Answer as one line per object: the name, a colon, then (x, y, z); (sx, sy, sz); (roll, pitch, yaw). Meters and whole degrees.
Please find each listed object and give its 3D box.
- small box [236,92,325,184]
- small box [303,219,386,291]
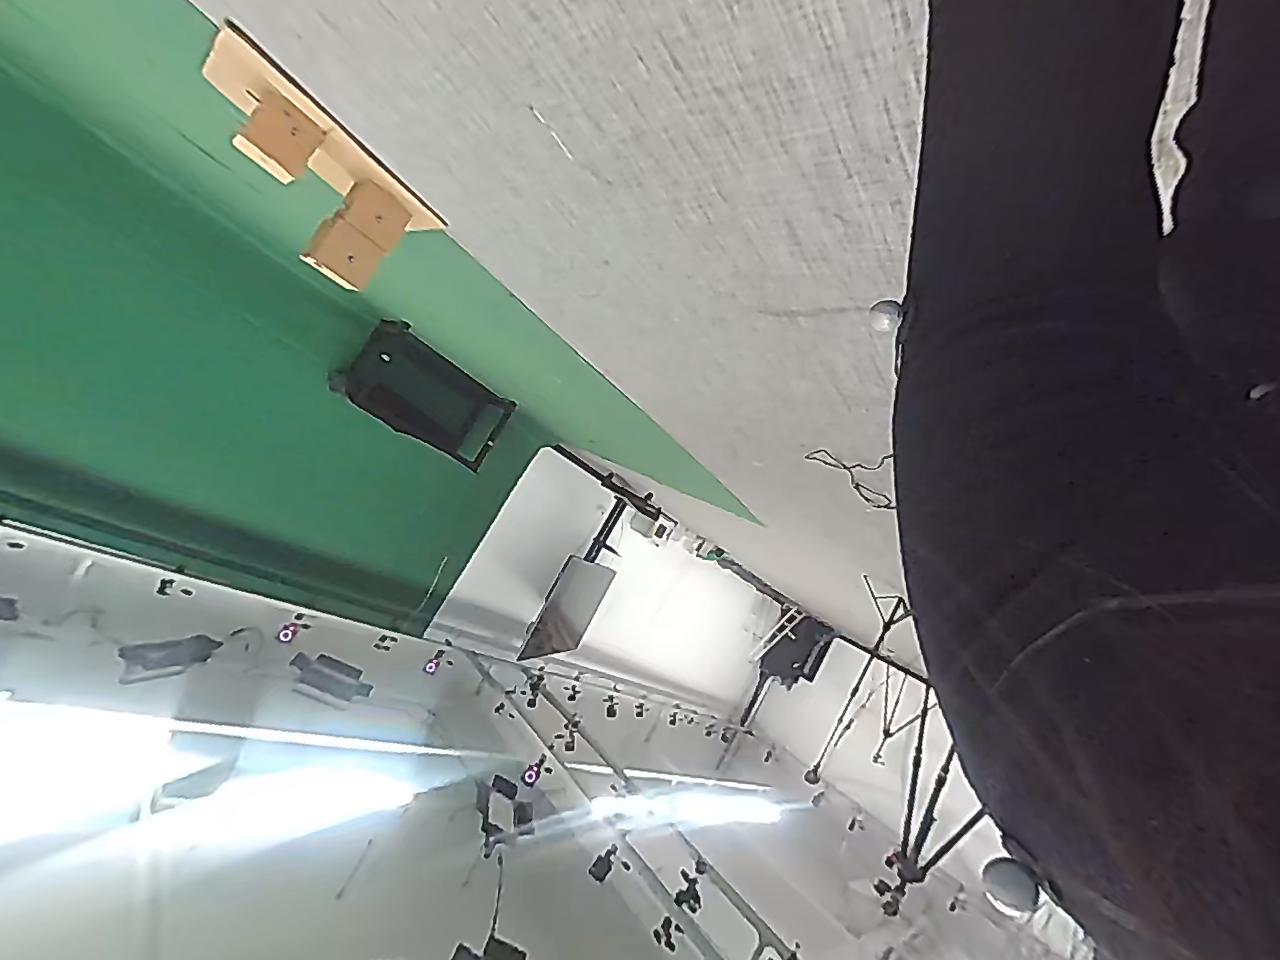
small box: (-1.130, -1.073, 1.705); (0.179, 0.176, 0.168); (22, 170, 45)
small box: (-1.041, -0.798, 1.910); (0.168, 0.176, 0.179); (24, 173, 41)
